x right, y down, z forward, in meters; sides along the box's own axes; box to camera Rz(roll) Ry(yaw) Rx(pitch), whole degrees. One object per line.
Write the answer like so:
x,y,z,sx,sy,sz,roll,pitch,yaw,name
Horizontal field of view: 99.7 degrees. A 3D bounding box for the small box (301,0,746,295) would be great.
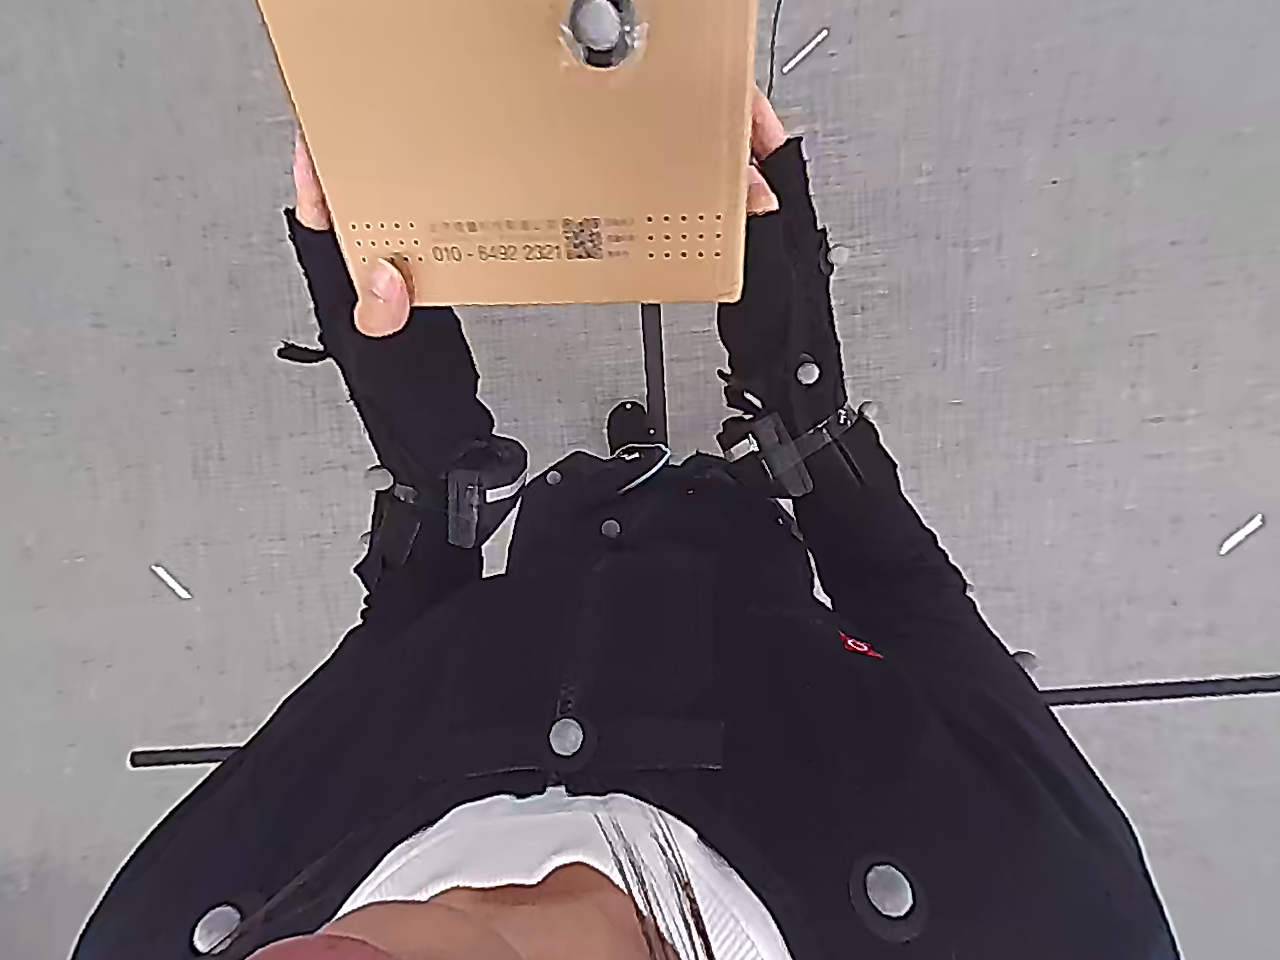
-0.033,-0.198,0.267,0.168,0.179,0.176,2,126,7,small box
